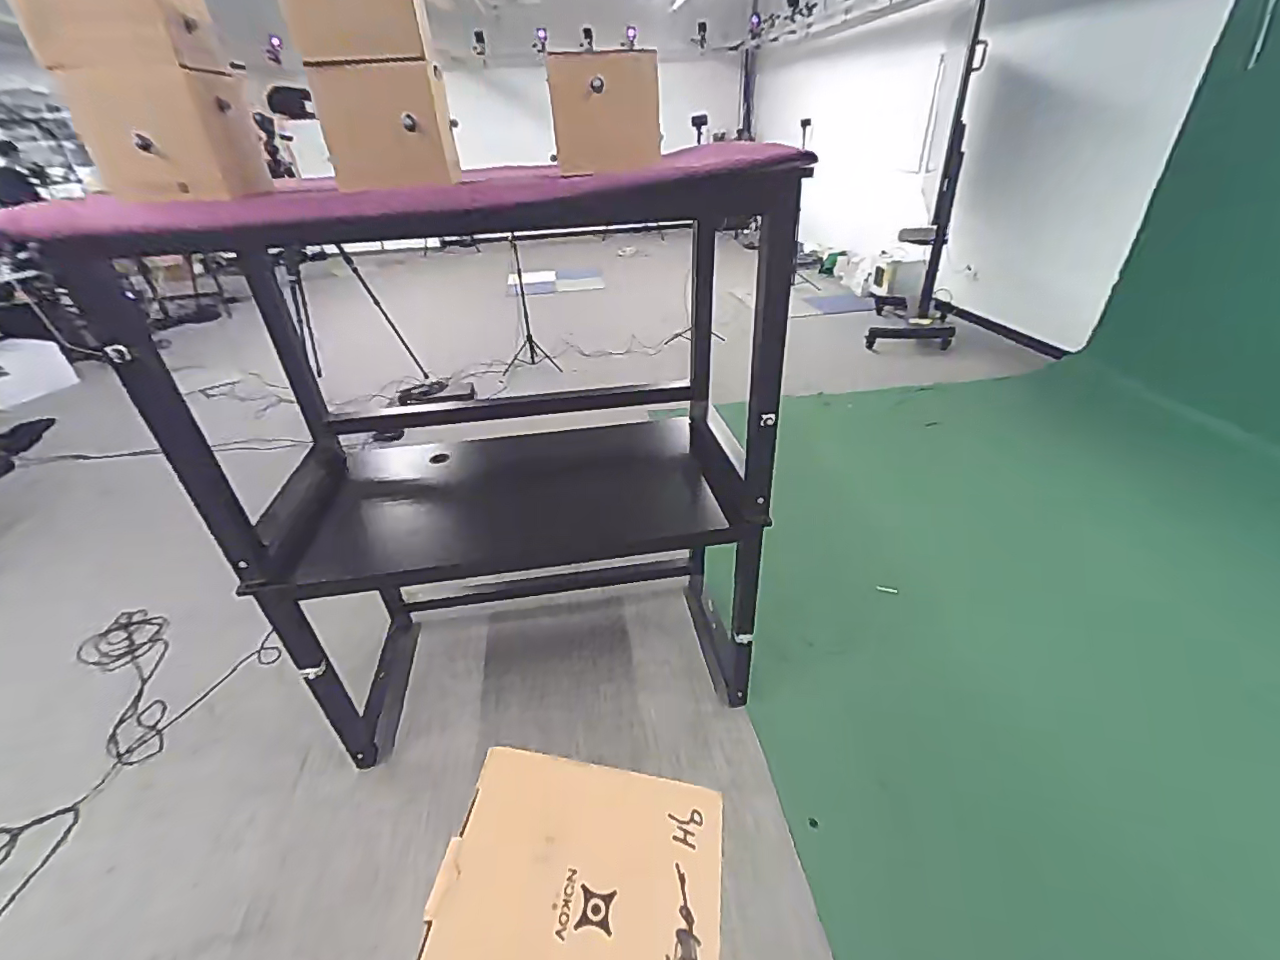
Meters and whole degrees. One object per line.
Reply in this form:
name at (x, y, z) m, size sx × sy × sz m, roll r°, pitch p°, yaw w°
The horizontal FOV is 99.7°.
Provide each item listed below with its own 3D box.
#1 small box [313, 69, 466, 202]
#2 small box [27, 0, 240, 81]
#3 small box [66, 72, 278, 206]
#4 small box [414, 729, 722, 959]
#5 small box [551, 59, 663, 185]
small box at (-0.398, -0.570, 0.901) m, size 0.179 × 0.176 × 0.168 m, roll -8°, pitch 32°, yaw -7°
small box at (-0.724, -0.669, 0.768) m, size 0.179 × 0.176 × 0.168 m, roll -7°, pitch 34°, yaw -10°
small box at (-0.714, -0.533, 0.857) m, size 0.168 × 0.176 × 0.179 m, roll -6°, pitch 32°, yaw -8°
small box at (-0.045, 0.315, 0.396) m, size 0.179 × 0.176 × 0.168 m, roll 11°, pitch 40°, yaw 1°
small box at (-0.058, -0.623, 0.958) m, size 0.179 × 0.176 × 0.168 m, roll -6°, pitch 30°, yaw -5°
